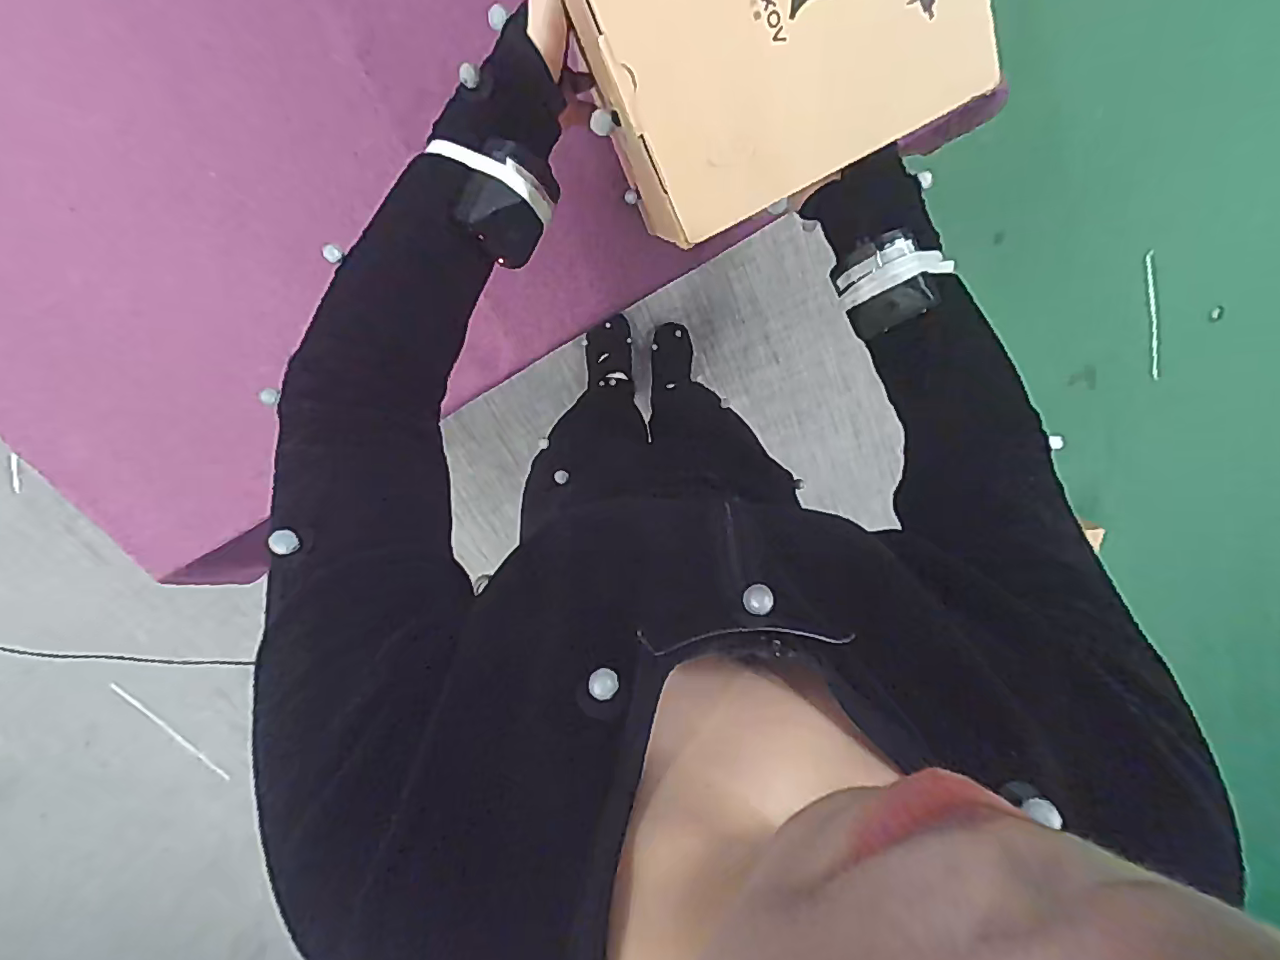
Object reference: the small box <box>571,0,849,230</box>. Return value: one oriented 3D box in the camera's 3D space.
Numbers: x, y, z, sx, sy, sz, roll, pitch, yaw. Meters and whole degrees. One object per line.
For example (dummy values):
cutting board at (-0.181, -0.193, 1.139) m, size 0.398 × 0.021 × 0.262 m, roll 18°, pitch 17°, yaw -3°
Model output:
small box at (0.053, -0.341, 0.478) m, size 0.168 × 0.176 × 0.179 m, roll -25°, pitch 114°, yaw 9°
